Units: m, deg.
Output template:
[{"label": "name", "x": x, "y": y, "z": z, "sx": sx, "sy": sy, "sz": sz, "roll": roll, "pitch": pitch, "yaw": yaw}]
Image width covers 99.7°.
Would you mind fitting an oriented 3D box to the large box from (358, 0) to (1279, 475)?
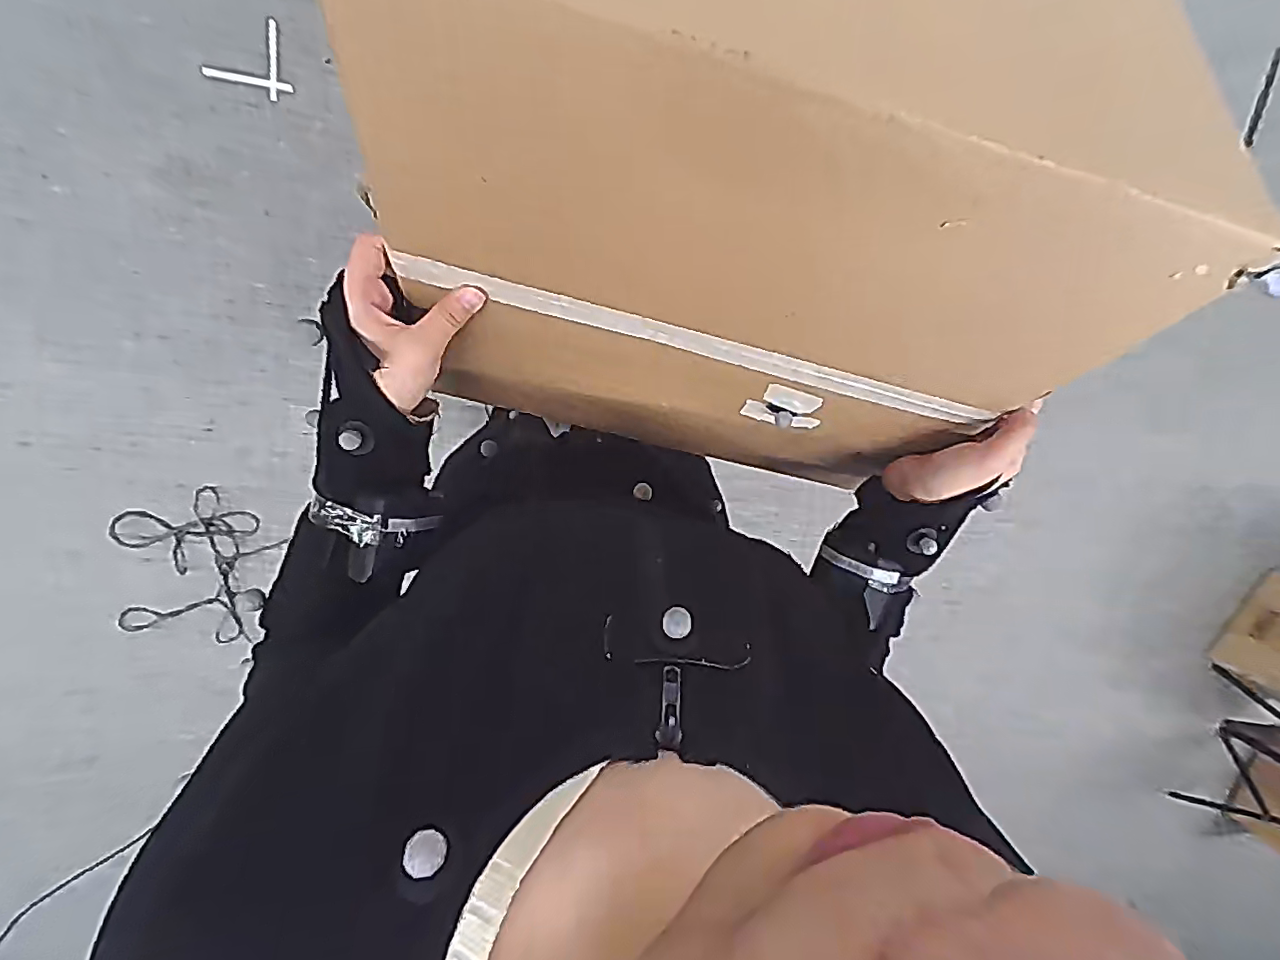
[{"label": "large box", "x": 0.086, "y": -0.233, "z": 0.377, "sx": 0.408, "sy": 0.320, "sz": 0.320, "roll": 12, "pitch": 68, "yaw": -8}]
